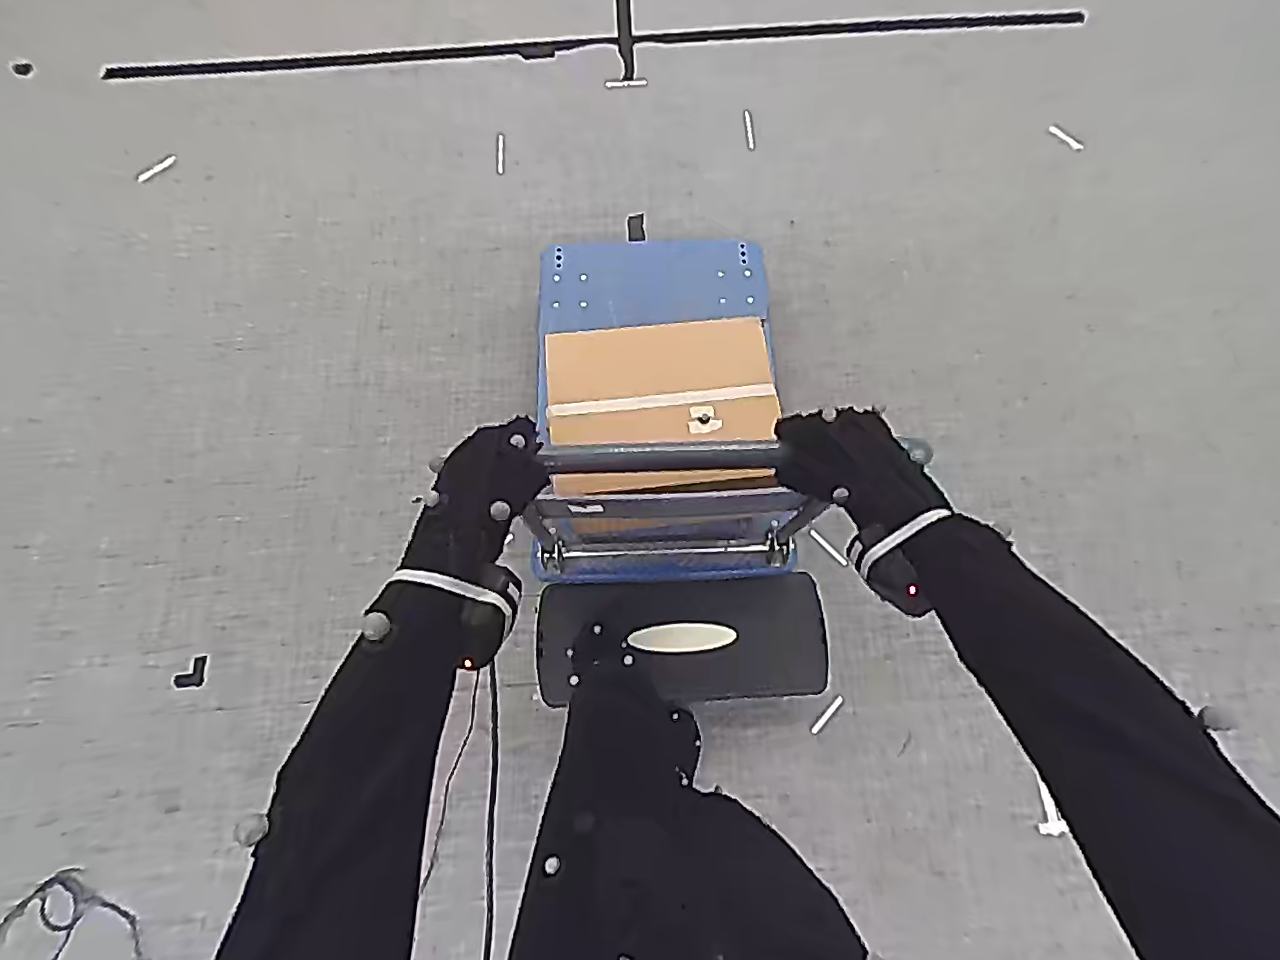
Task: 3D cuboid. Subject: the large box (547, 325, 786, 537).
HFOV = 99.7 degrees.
[{"bbox_3d":[0.037,-0.084,1.113,0.408,0.320,0.320,-6,72,-3],"label":"large box"}]
